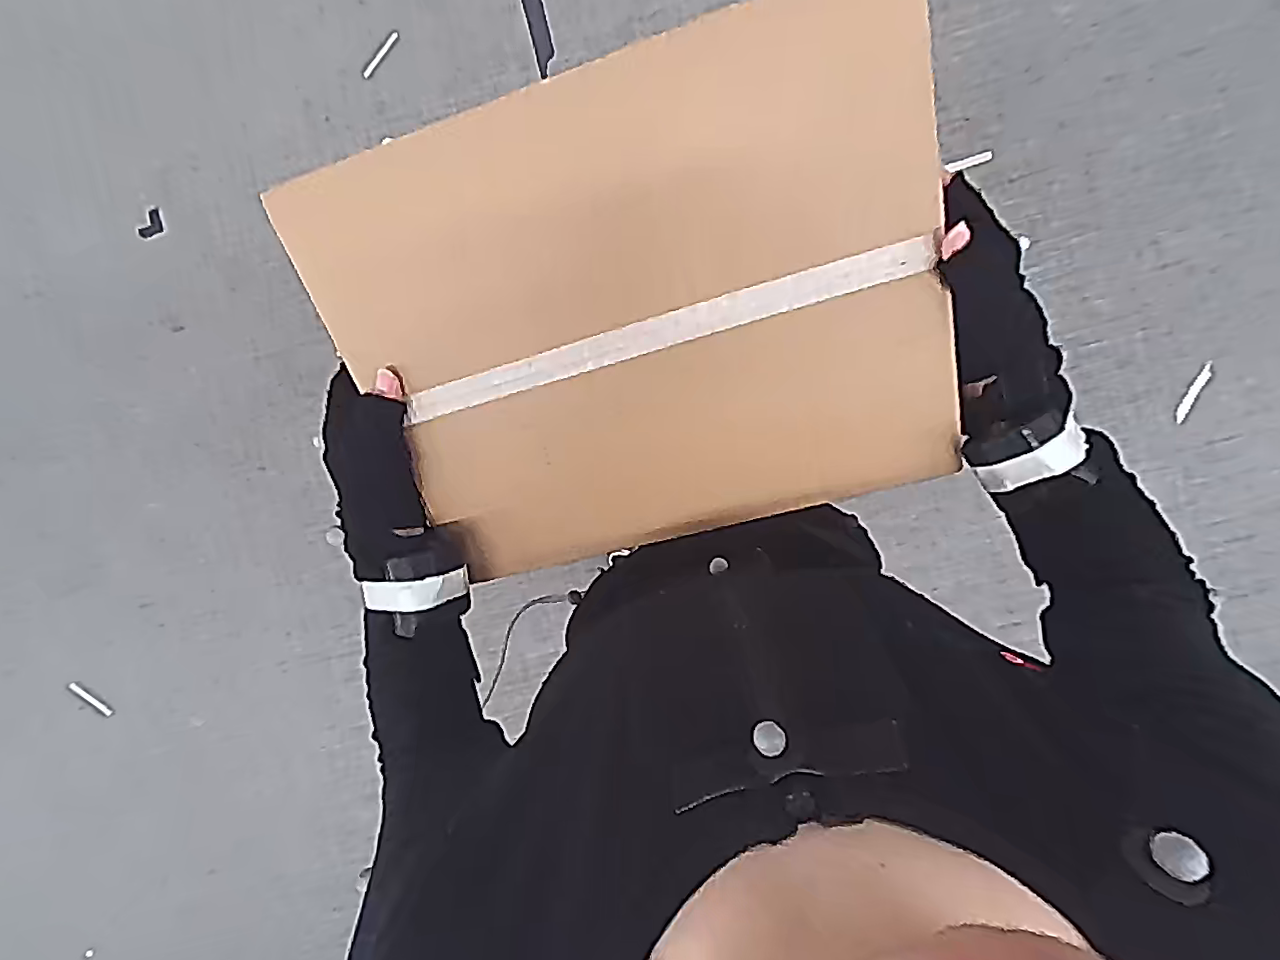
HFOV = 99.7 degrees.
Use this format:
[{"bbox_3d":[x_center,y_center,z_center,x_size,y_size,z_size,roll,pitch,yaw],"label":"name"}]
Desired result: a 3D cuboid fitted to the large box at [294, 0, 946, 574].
[{"bbox_3d":[0.005,-0.159,0.518,0.408,0.320,0.320,-14,114,10],"label":"large box"}]
